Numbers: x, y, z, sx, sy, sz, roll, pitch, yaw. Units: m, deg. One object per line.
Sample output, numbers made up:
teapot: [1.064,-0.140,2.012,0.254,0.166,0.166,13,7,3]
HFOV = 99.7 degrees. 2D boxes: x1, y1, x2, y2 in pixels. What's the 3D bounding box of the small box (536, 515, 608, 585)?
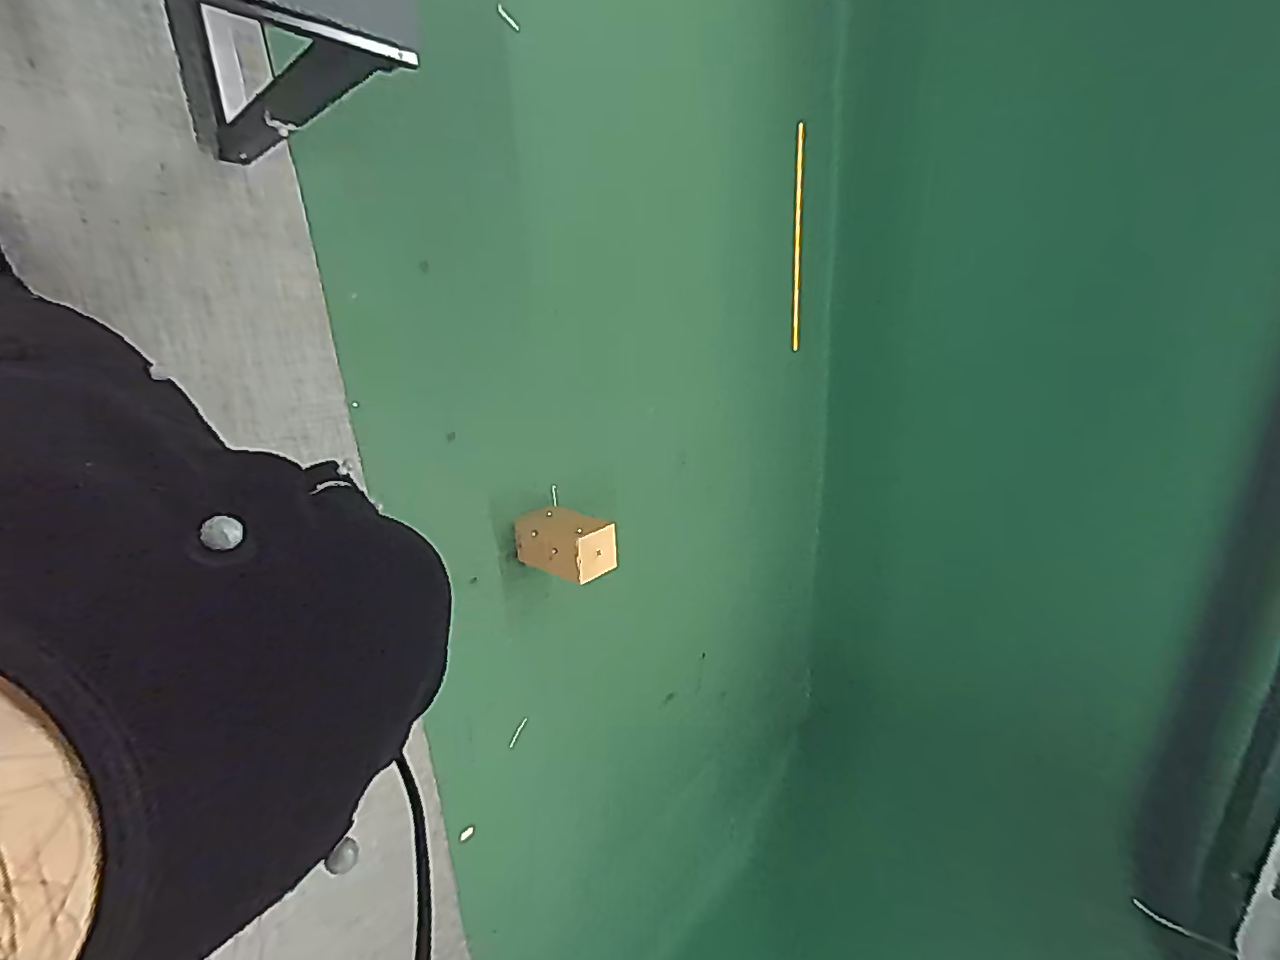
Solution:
small box: [-0.229,0.228,1.827,0.179,0.176,0.168,-21,115,-47]
